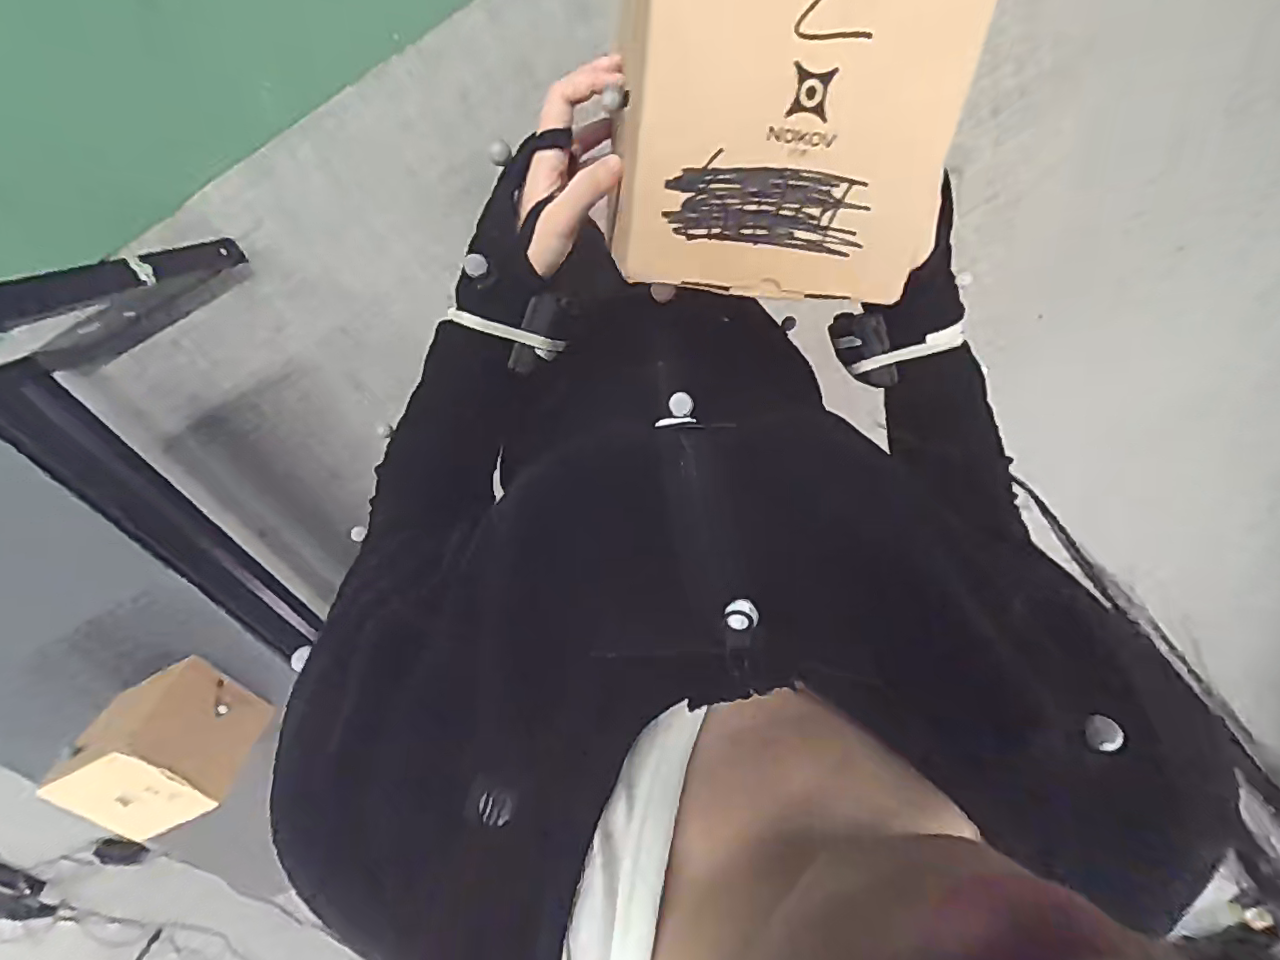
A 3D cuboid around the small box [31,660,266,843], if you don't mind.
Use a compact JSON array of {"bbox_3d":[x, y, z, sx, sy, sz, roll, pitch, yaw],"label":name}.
[{"bbox_3d":[-0.742,0.417,0.842,0.179,0.176,0.168,-27,120,10],"label":"small box"}]
